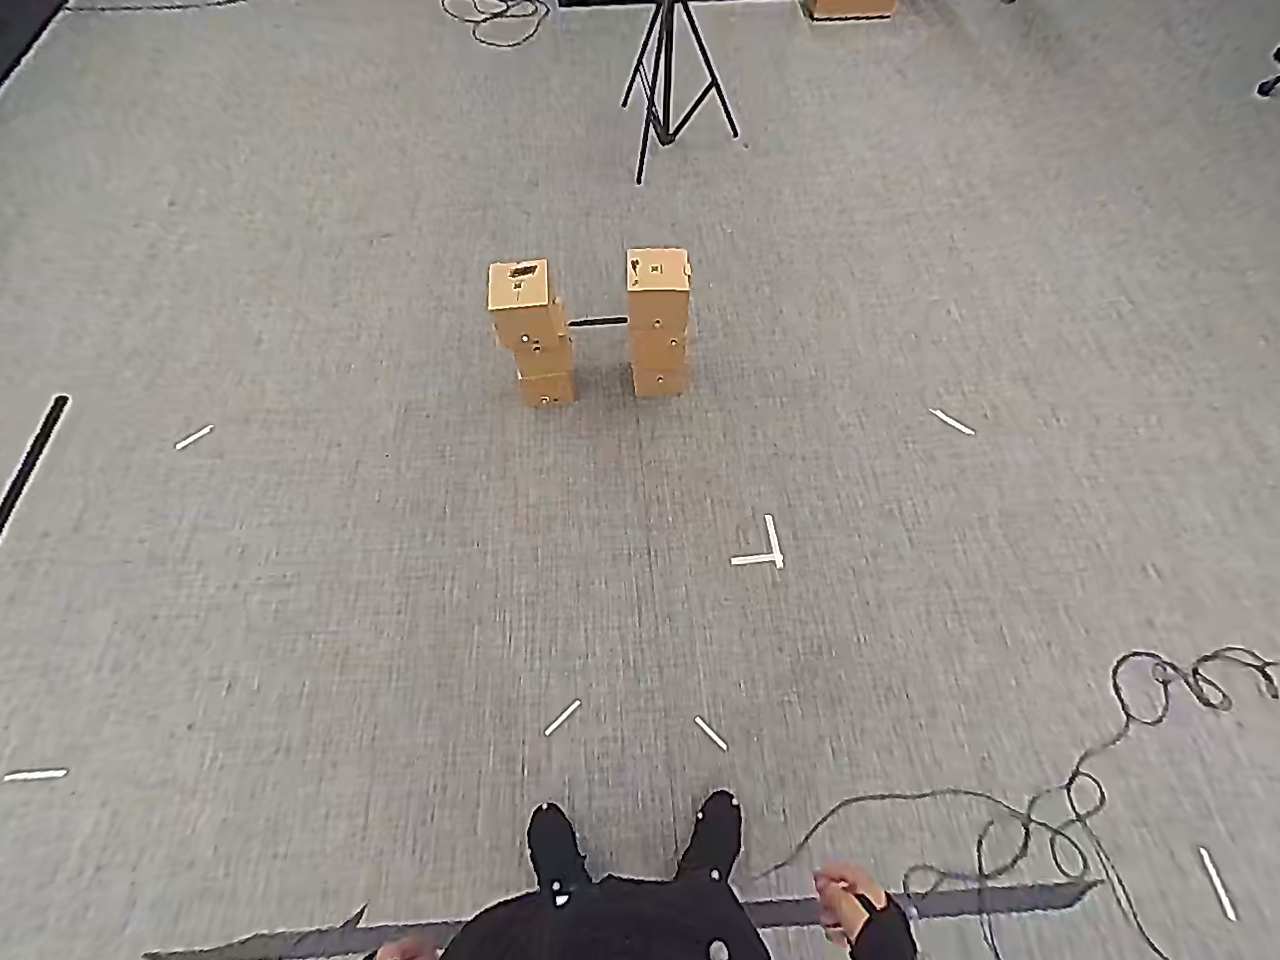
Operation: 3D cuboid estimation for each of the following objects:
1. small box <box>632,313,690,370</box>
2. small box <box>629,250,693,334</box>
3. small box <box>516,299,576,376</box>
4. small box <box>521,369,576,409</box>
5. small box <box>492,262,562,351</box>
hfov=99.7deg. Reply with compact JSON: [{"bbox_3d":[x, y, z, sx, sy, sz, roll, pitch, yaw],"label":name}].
[{"bbox_3d":[0.067,-0.466,1.727,0.179,0.176,0.168,1,63,1],"label":"small box"},{"bbox_3d":[0.059,-0.545,1.584,0.179,0.176,0.168,1,63,0],"label":"small box"},{"bbox_3d":[-0.306,-0.449,1.724,0.179,0.176,0.168,-8,63,-3],"label":"small box"},{"bbox_3d":[-0.315,-0.371,1.868,0.168,0.176,0.179,-7,64,-2],"label":"small box"},{"bbox_3d":[-0.323,-0.500,1.567,0.168,0.176,0.179,-6,64,0],"label":"small box"}]
